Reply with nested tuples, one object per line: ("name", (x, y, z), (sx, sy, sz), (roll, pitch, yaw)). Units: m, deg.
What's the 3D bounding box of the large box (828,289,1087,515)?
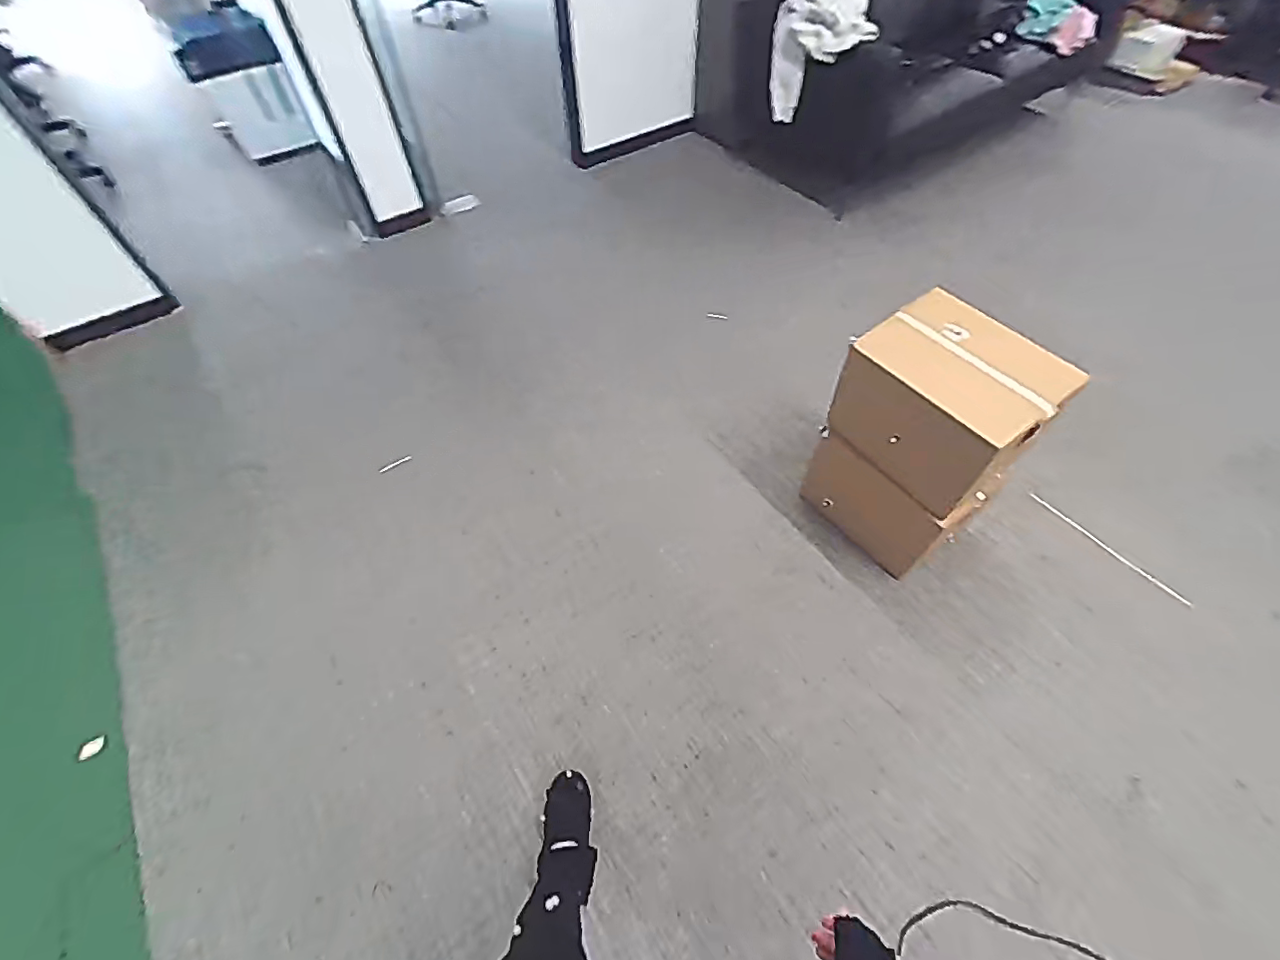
("large box", (0.745, -0.192, 1.345), (0.320, 0.320, 0.408), (-33, 59, -15))
